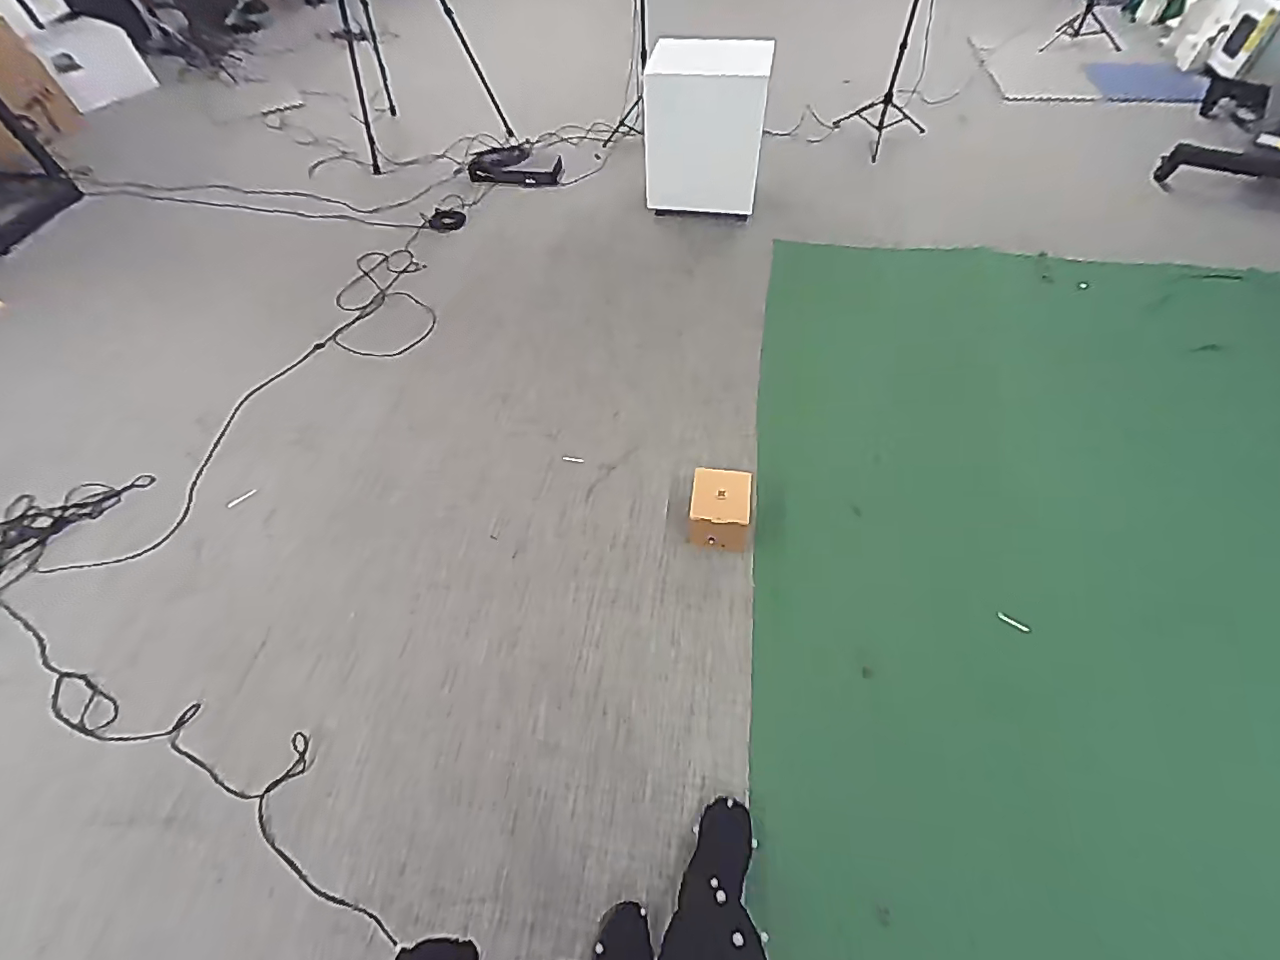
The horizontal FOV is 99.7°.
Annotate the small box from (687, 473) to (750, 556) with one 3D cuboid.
[{"bbox_3d":[0.231,0.104,1.601,0.168,0.176,0.179,5,55,7],"label":"small box"}]
